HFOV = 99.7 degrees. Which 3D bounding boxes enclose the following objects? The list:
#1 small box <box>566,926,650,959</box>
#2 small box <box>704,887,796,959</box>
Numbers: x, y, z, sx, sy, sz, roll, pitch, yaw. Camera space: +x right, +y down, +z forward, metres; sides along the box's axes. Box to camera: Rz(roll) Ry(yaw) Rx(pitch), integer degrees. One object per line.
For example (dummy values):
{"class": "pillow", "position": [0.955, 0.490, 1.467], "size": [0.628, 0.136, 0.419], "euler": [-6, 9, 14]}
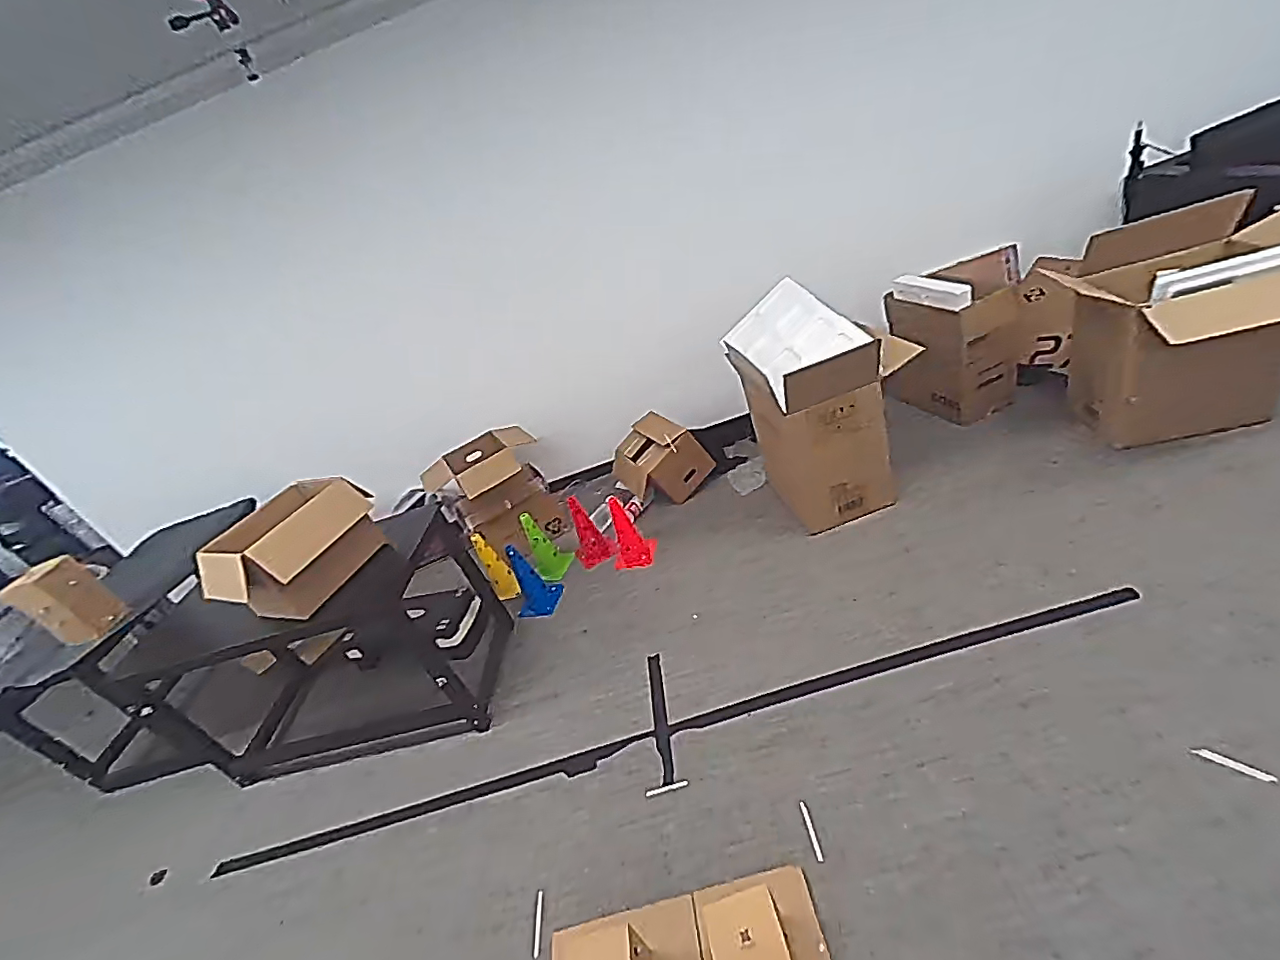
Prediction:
{"class": "small box", "position": [-0.066, 1.186, 1.248], "size": [0.168, 0.176, 0.179], "euler": [-20, 30, 4]}
{"class": "small box", "position": [0.260, 1.078, 1.222], "size": [0.168, 0.176, 0.179], "euler": [-21, 29, 1]}
